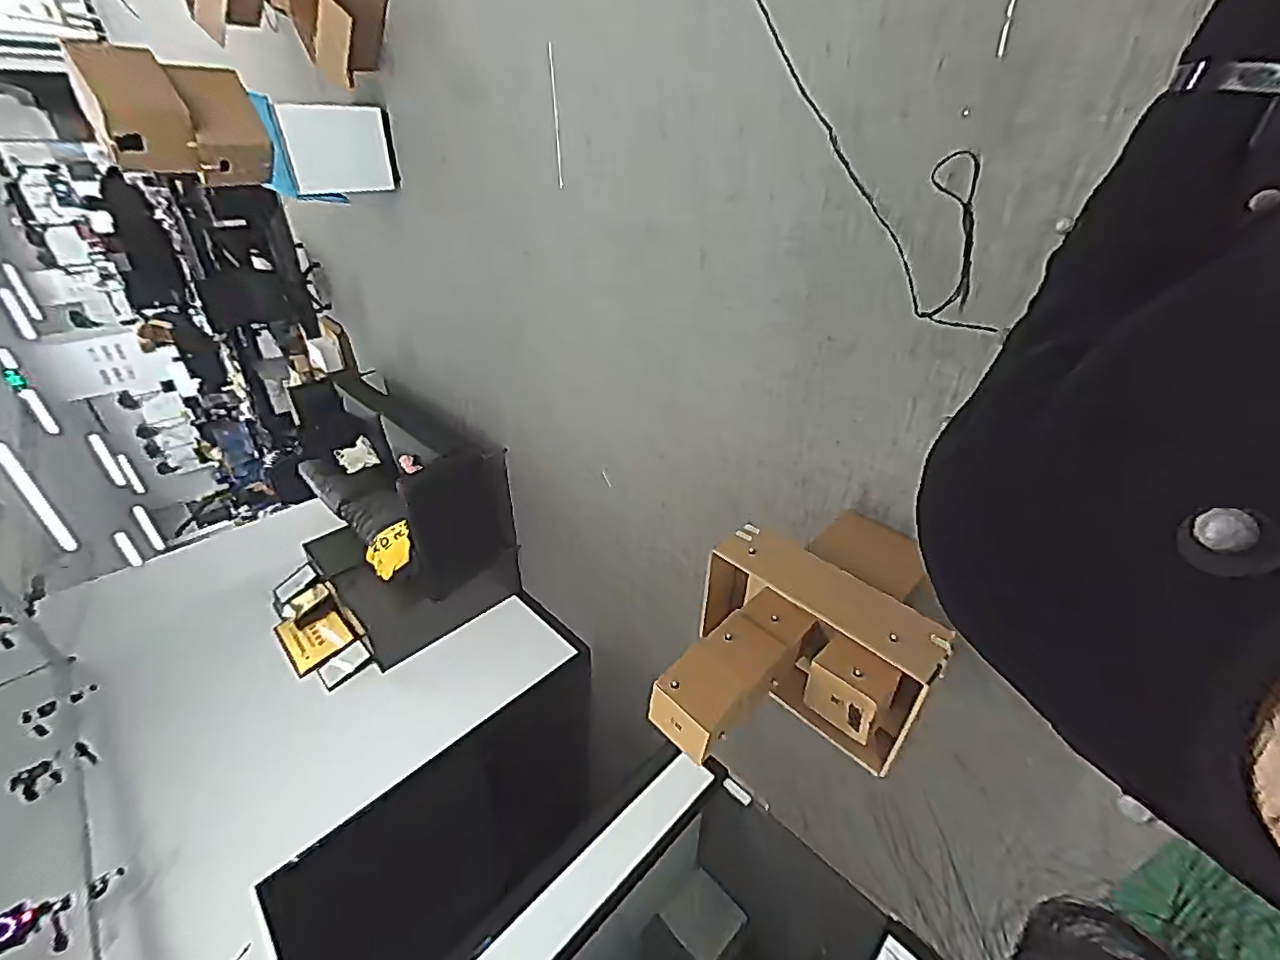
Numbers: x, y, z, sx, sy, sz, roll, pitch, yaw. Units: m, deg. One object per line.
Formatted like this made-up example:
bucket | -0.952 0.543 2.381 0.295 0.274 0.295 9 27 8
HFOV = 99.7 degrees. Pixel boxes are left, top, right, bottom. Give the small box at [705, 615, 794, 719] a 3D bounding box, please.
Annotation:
small box | 0.284 0.491 1.455 0.179 0.176 0.168 32 135 33

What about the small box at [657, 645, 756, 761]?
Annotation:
small box | 0.167 0.554 1.362 0.179 0.176 0.168 34 137 32
